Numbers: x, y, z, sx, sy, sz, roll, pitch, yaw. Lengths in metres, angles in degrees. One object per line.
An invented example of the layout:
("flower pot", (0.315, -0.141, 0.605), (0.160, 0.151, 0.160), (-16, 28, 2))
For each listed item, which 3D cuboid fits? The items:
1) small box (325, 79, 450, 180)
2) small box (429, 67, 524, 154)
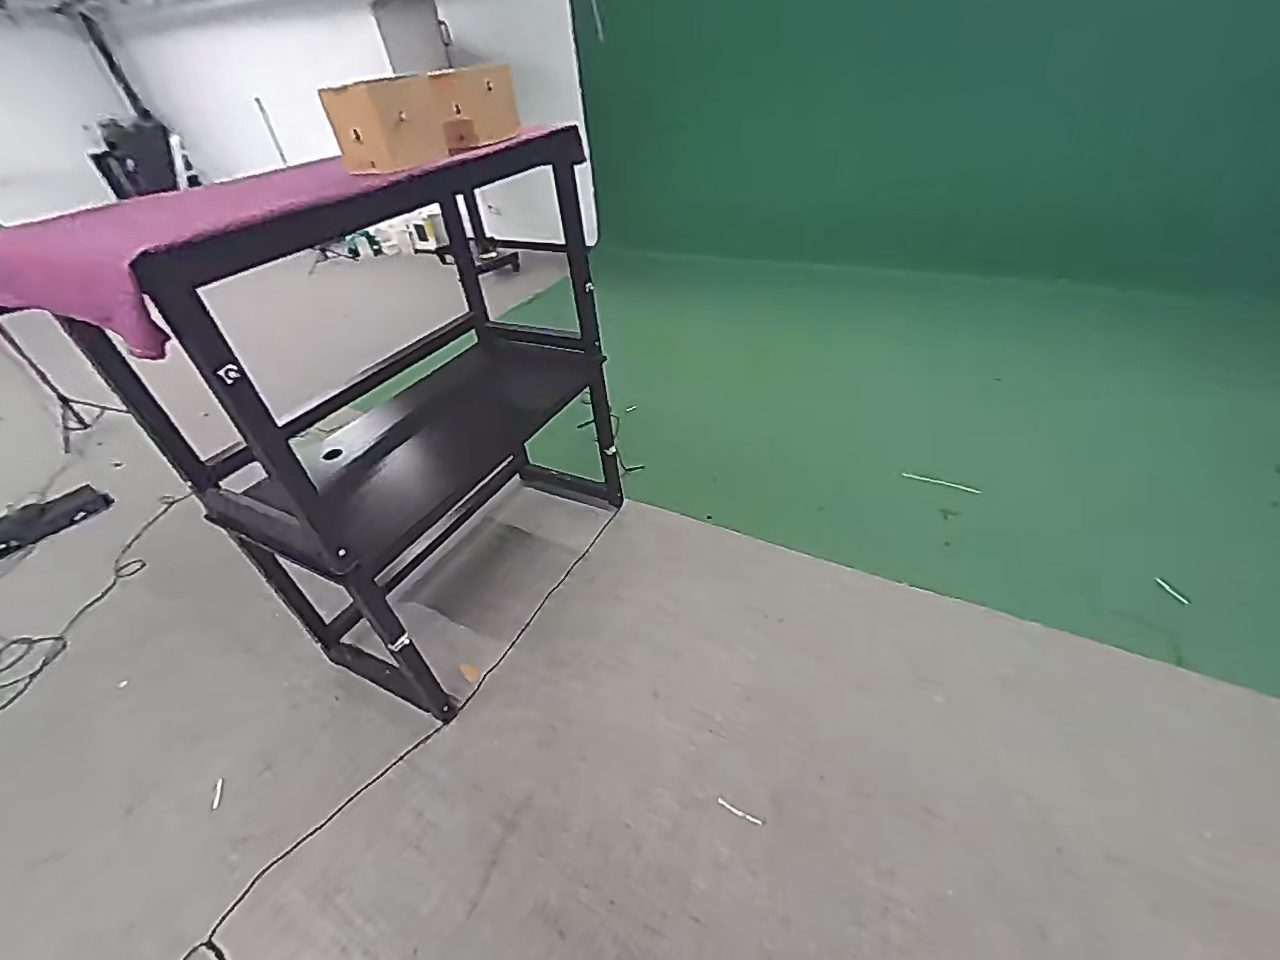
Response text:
("small box", (-0.575, -0.809, 1.256), (0.168, 0.176, 0.179), (16, 45, 27))
("small box", (-0.441, -0.995, 1.464), (0.168, 0.176, 0.179), (17, 46, 28))
